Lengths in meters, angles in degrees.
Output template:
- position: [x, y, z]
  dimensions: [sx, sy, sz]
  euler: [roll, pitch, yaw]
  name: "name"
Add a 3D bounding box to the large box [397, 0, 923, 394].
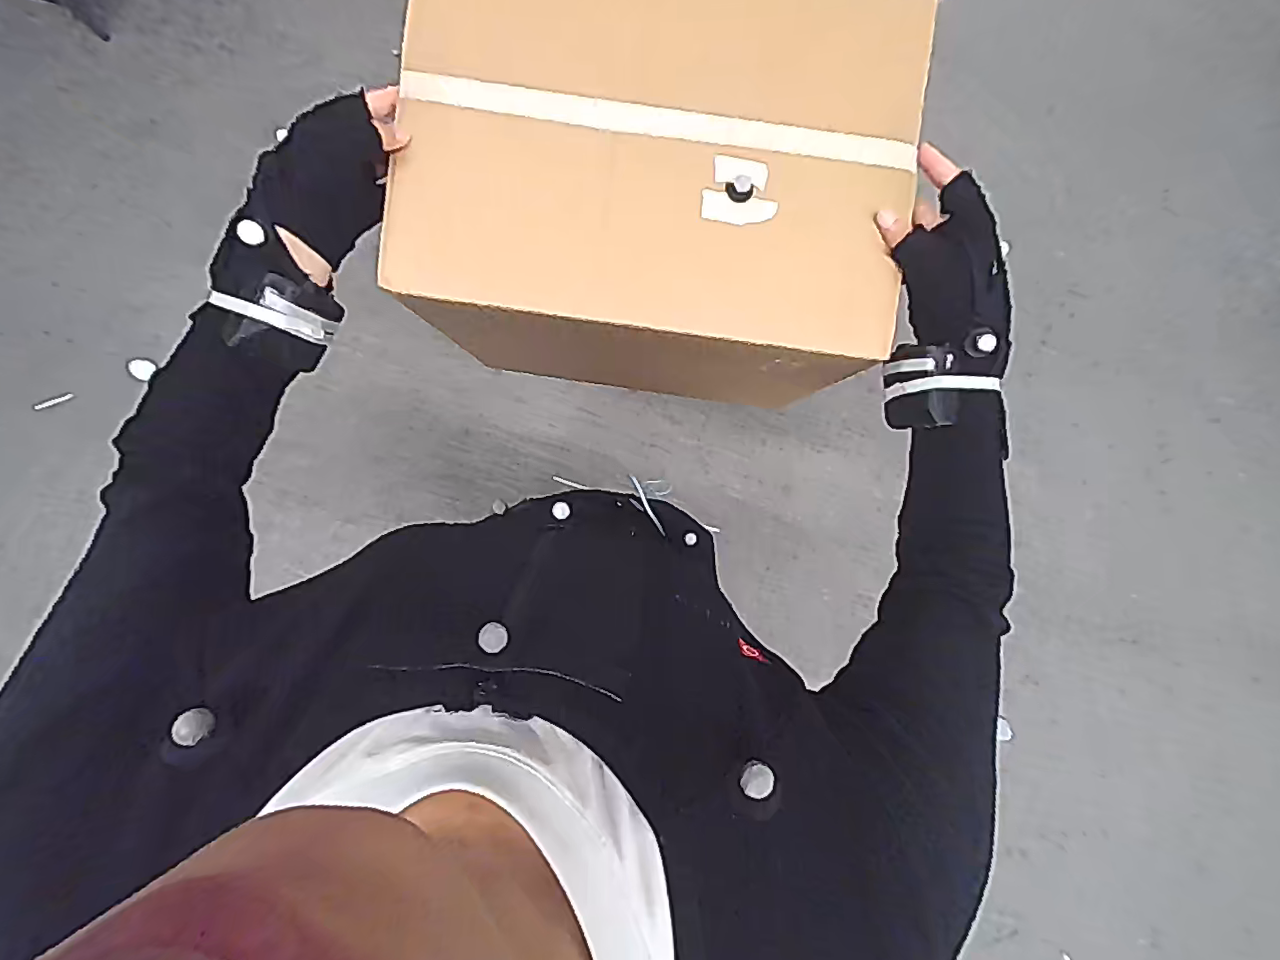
- position: [0.014, -0.285, 0.581]
  dimensions: [0.408, 0.320, 0.320]
  euler: [7, 91, -1]
  name: "large box"
